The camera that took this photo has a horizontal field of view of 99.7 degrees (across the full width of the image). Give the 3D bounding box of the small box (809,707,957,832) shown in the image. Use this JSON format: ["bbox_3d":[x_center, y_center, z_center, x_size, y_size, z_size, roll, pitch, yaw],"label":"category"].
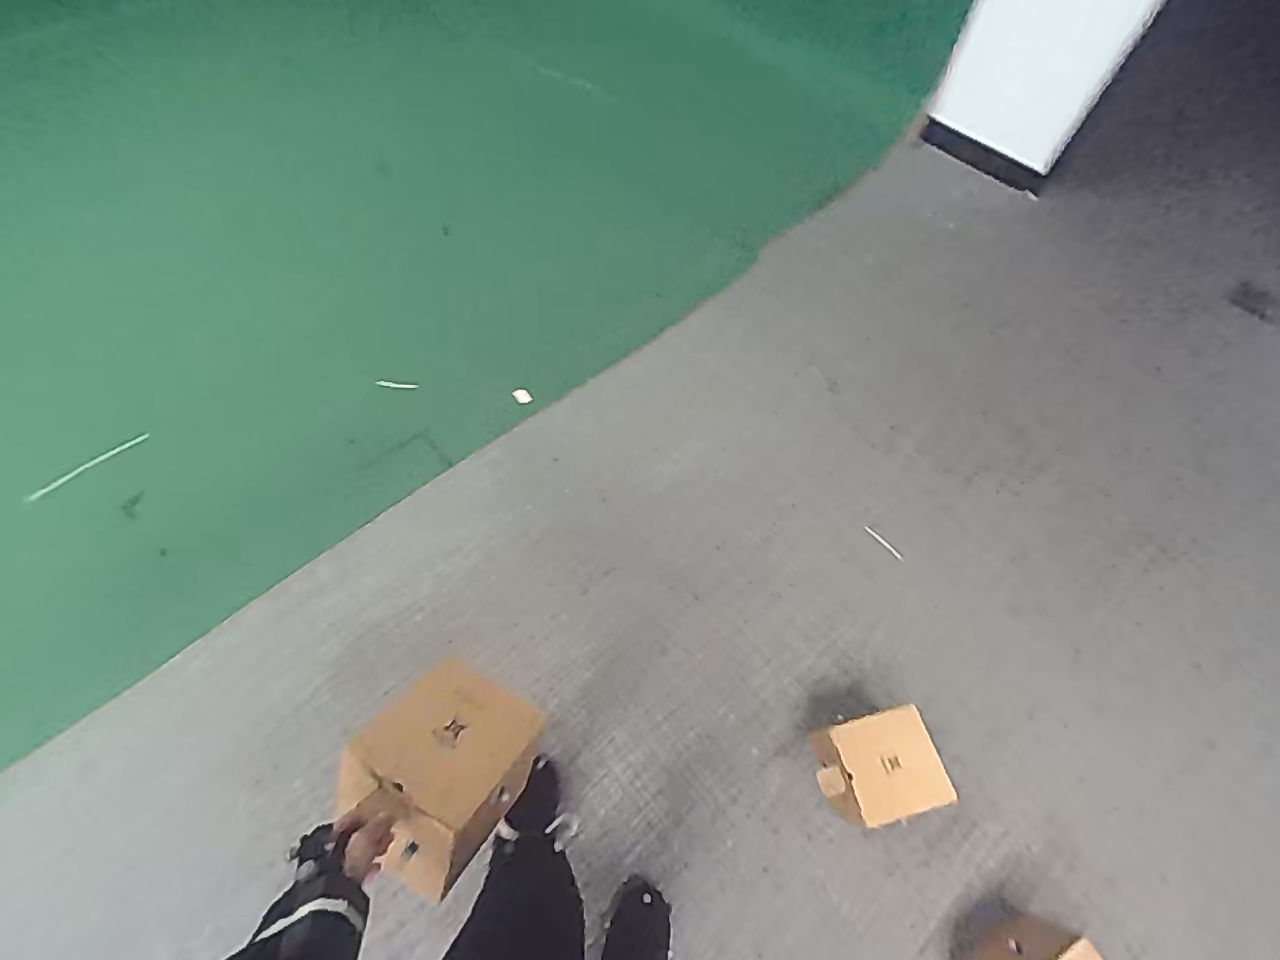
[{"bbox_3d":[0.450,0.545,1.034,0.179,0.176,0.168,-14,64,-6],"label":"small box"}]
